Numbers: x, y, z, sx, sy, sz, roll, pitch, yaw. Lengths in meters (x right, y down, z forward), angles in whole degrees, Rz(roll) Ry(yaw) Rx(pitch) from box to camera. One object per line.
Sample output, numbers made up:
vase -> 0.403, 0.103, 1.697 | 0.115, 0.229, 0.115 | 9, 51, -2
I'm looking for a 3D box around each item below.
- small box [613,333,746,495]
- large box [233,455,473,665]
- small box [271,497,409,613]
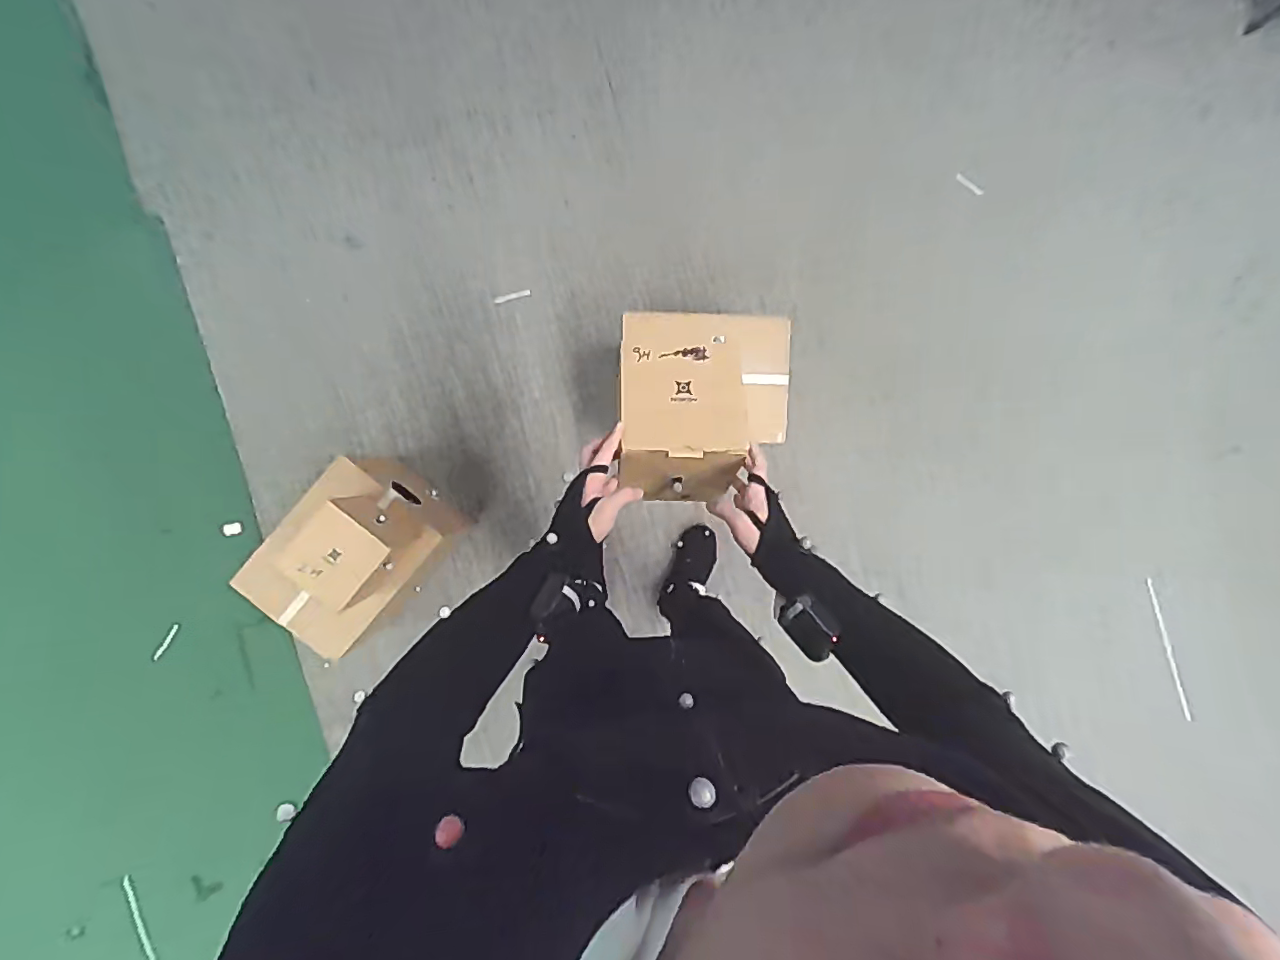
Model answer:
small box -> 0.047, -0.085, 0.771 | 0.168, 0.176, 0.179 | 1, 67, -4
large box -> -0.710, 0.182, 1.407 | 0.320, 0.320, 0.408 | 40, 90, -1
small box -> -0.627, 0.150, 1.163 | 0.168, 0.176, 0.179 | 40, 89, -3
